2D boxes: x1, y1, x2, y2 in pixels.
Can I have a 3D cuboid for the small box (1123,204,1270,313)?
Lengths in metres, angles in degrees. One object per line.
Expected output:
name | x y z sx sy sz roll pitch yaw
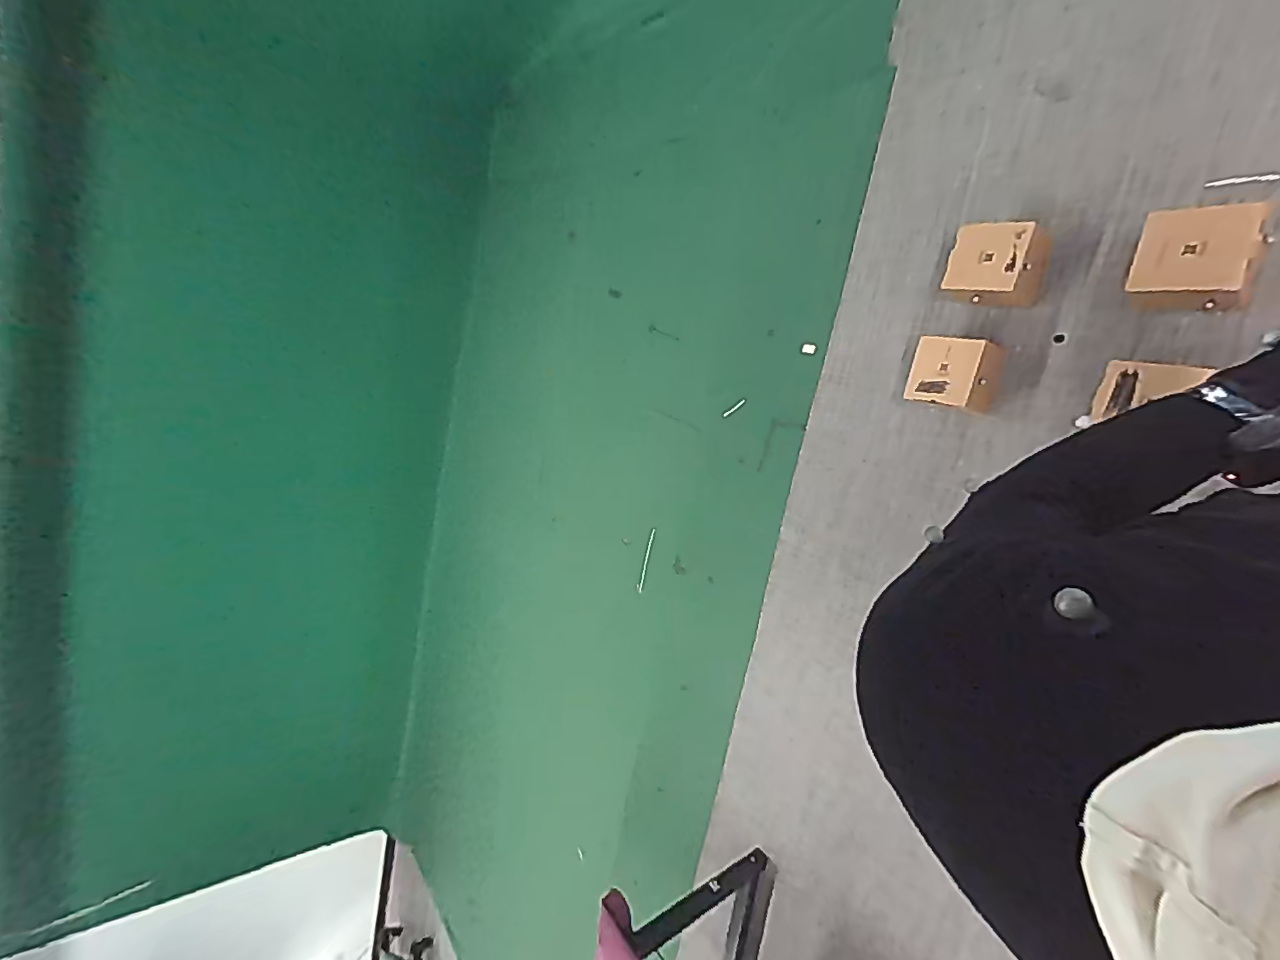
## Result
small box | 1.167 -0.457 1.138 0.179 0.176 0.168 22 102 47

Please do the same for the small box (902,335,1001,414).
small box | 0.852 -0.284 1.476 0.168 0.176 0.179 23 103 46

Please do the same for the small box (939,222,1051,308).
small box | 0.928 -0.556 1.413 0.179 0.176 0.168 26 106 47
